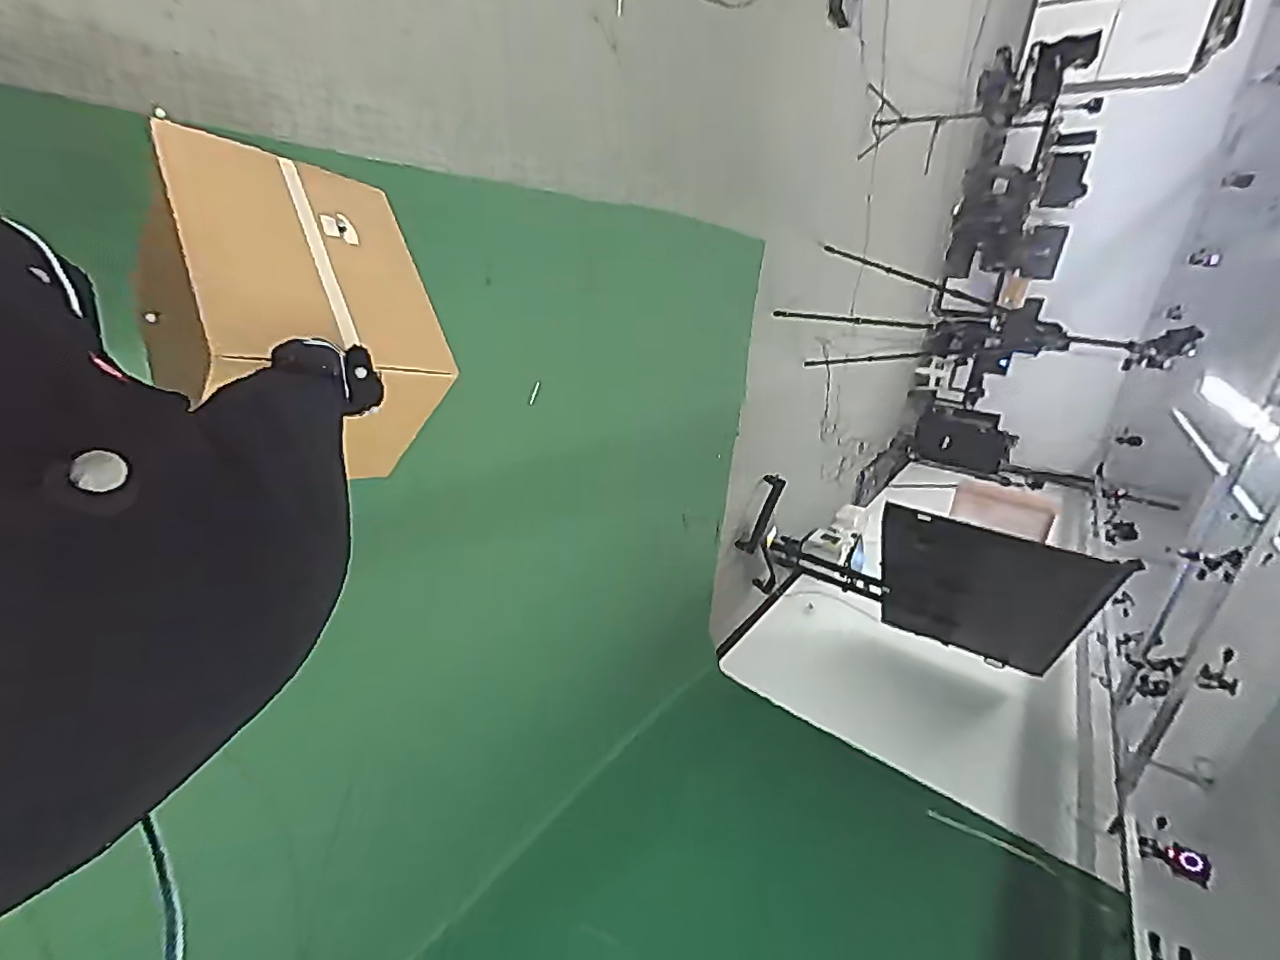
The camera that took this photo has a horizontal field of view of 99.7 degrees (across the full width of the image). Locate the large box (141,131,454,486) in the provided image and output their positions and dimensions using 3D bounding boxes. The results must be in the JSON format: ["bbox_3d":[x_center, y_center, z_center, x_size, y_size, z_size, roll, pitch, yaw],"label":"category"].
[{"bbox_3d":[-0.570,-0.248,0.886,0.320,0.408,0.320,-8,155,-49],"label":"large box"}]
